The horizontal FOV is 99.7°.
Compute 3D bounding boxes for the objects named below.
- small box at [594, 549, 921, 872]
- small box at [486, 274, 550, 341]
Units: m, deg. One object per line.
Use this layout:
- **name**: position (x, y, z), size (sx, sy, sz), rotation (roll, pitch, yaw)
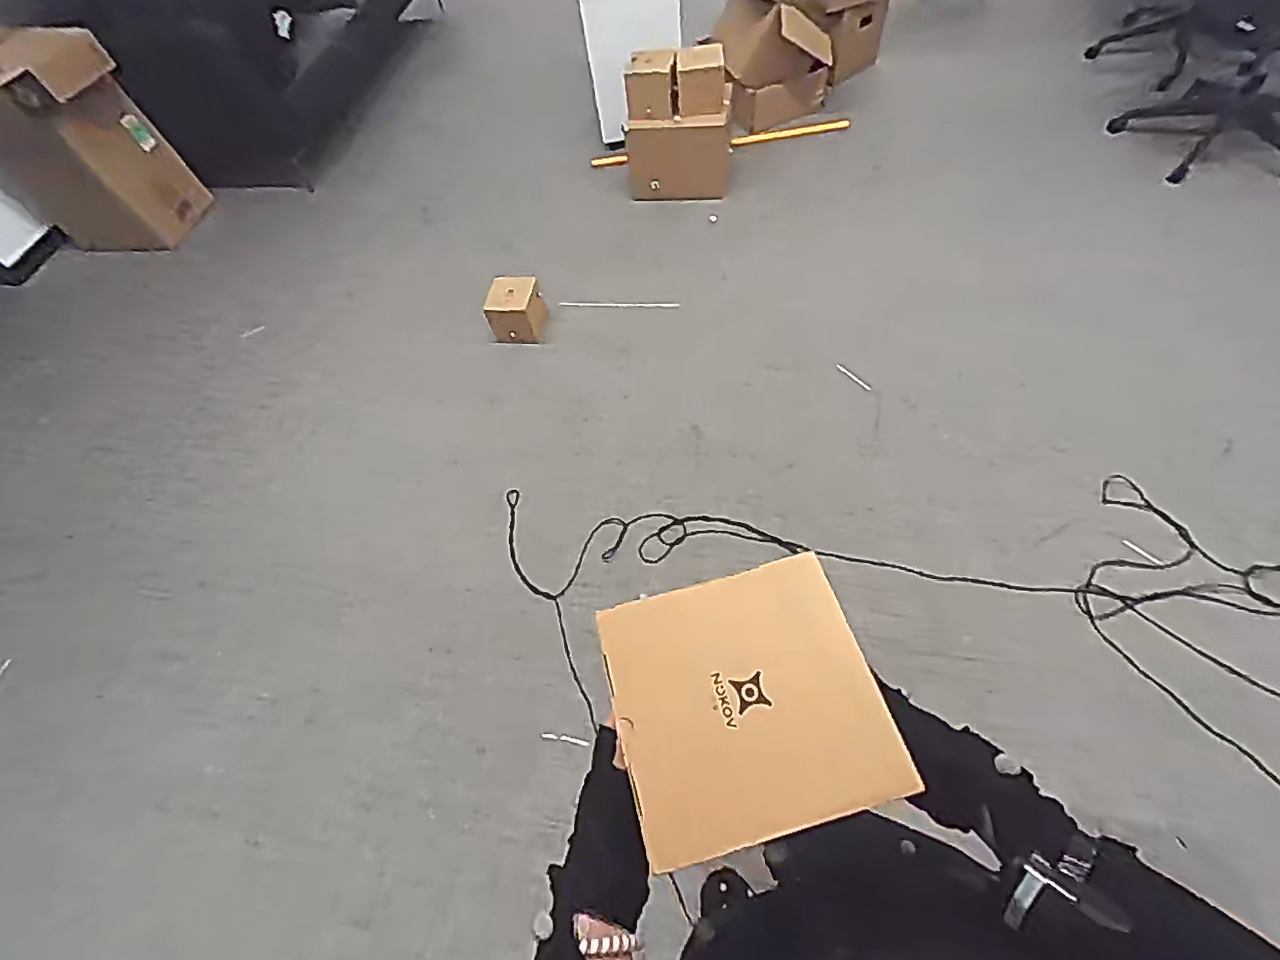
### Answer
- **small box**: position (0.075, 0.178, 0.430), size (0.179, 0.176, 0.168), rotation (-16, 61, -3)
- **small box**: position (-0.448, -0.646, 2.022), size (0.168, 0.176, 0.179), rotation (4, 61, 11)
